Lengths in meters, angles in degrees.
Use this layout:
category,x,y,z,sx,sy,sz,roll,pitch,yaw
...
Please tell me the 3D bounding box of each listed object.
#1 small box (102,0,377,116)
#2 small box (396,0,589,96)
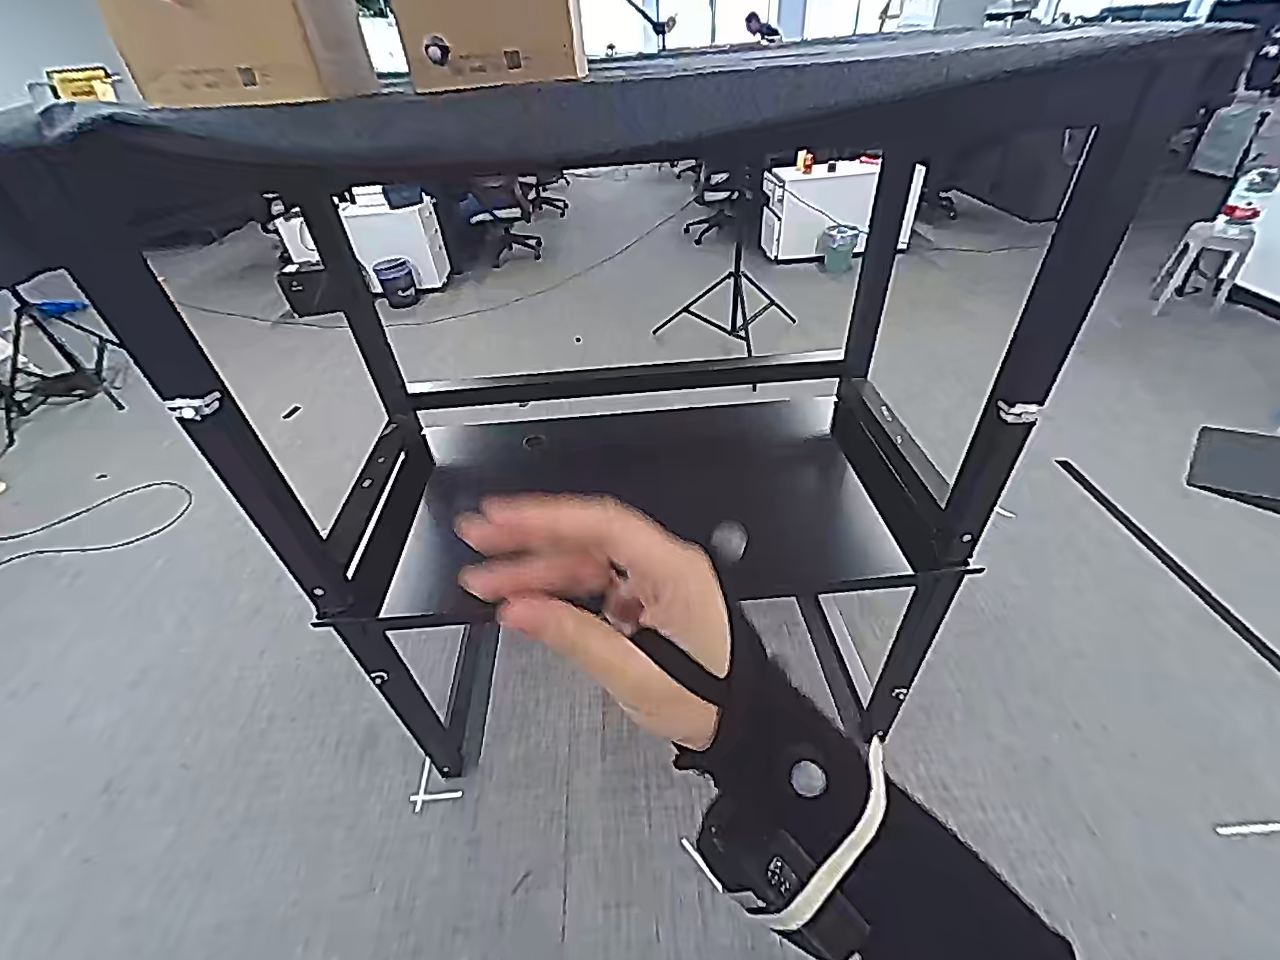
category,x,y,z,sx,sy,sz,roll,pitch,yaw
small box,-0.386,-0.463,0.528,0.168,0.176,0.179,-4,37,-1
small box,-0.146,-0.501,0.550,0.168,0.176,0.179,-4,37,1
